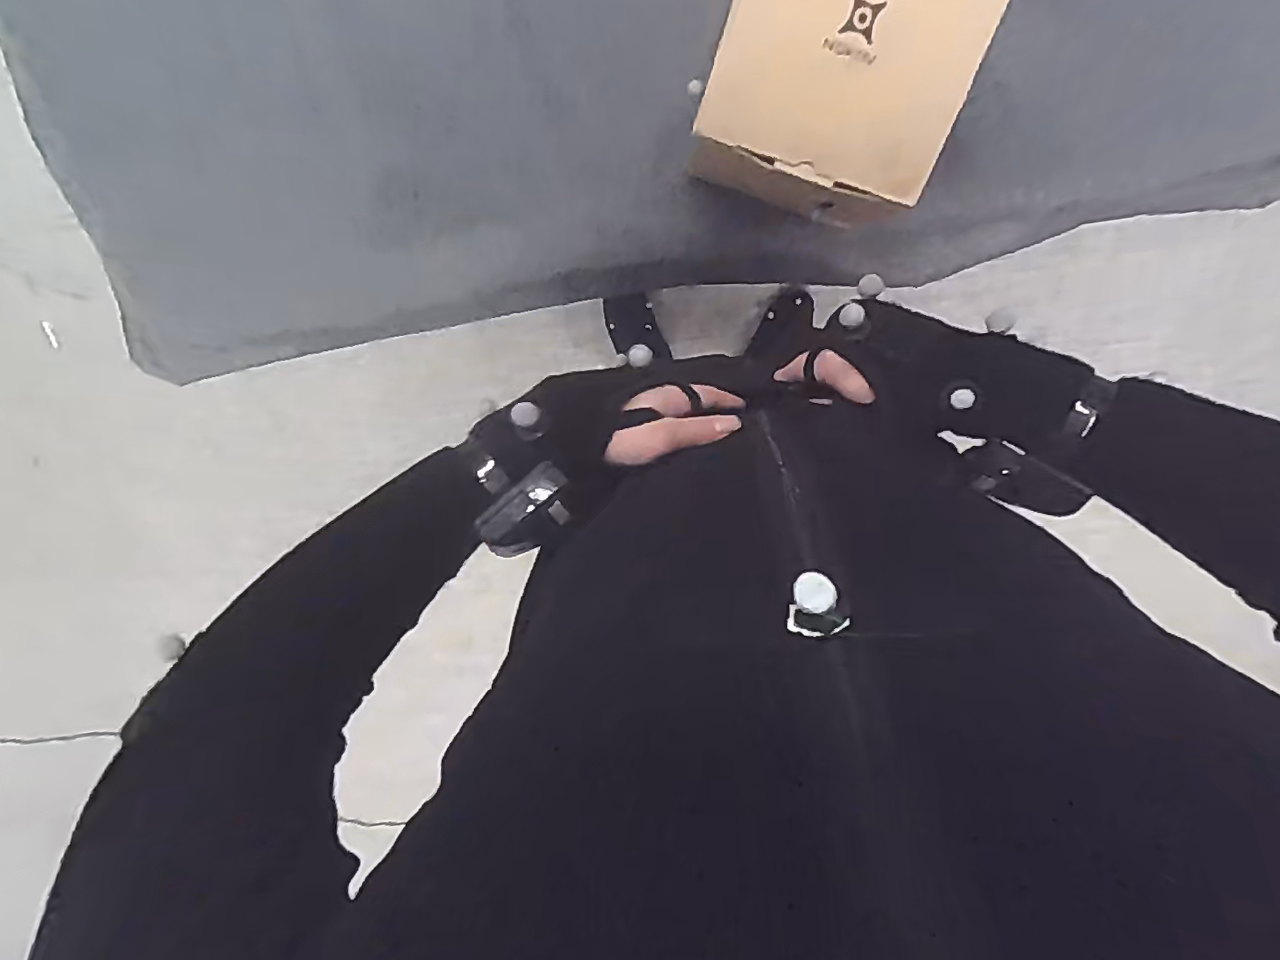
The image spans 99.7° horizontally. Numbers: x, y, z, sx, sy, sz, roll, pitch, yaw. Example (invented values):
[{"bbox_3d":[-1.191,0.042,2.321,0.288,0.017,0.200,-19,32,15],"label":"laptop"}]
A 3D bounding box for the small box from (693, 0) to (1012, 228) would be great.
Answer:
[{"bbox_3d":[0.144,-0.312,0.419,0.168,0.176,0.179,16,110,-4],"label":"small box"}]
